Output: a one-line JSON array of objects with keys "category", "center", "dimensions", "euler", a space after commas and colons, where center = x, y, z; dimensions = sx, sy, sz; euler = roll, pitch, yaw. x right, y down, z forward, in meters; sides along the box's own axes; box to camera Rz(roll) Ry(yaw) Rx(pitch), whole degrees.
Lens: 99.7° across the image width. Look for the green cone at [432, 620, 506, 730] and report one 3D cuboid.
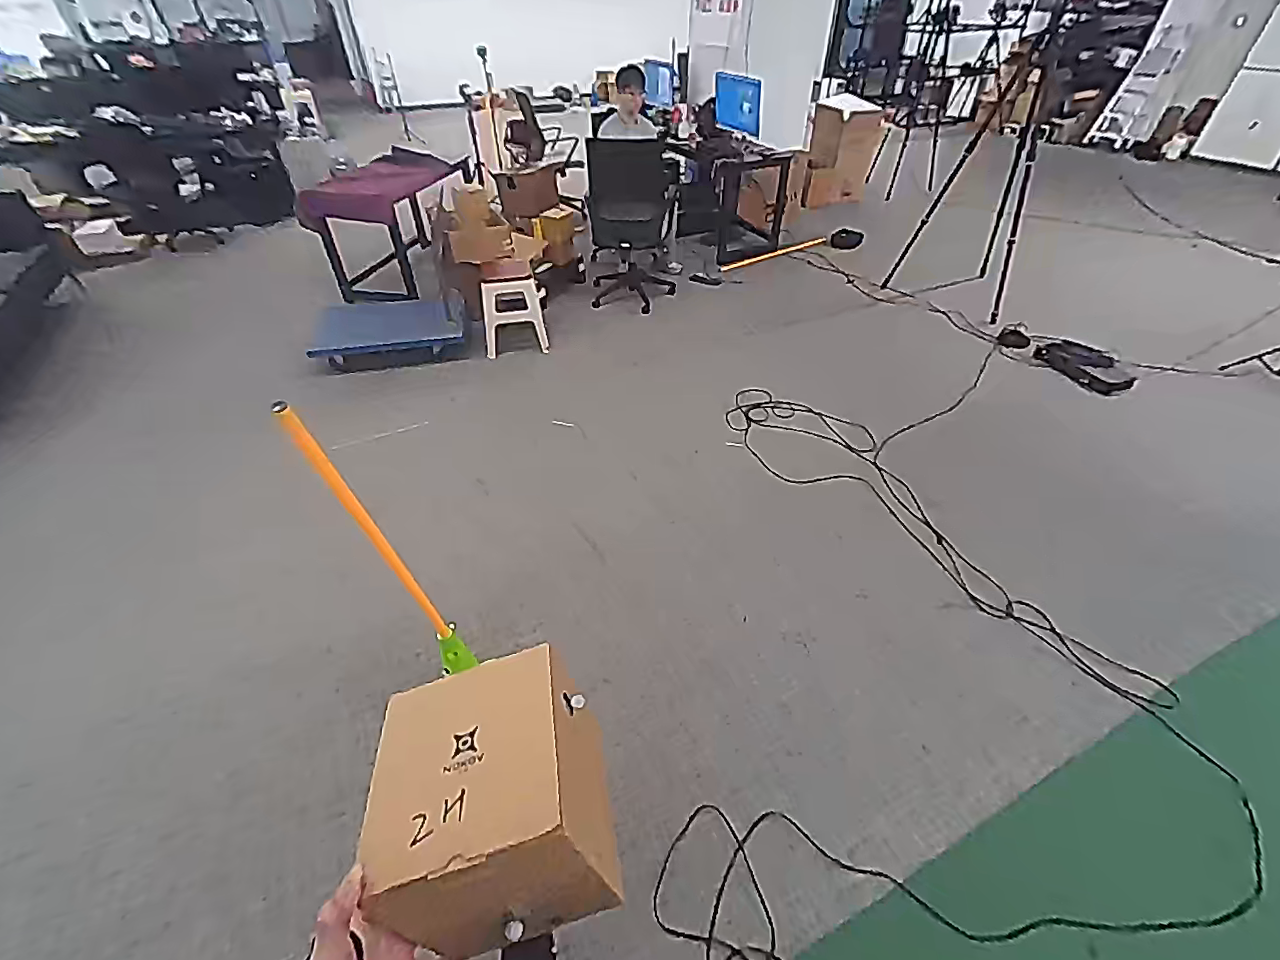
[{"category": "green cone", "center": [-0.529, 0.529, 1.562], "dimensions": [0.202, 0.368, 0.200], "euler": [-16, 45, -19]}]
